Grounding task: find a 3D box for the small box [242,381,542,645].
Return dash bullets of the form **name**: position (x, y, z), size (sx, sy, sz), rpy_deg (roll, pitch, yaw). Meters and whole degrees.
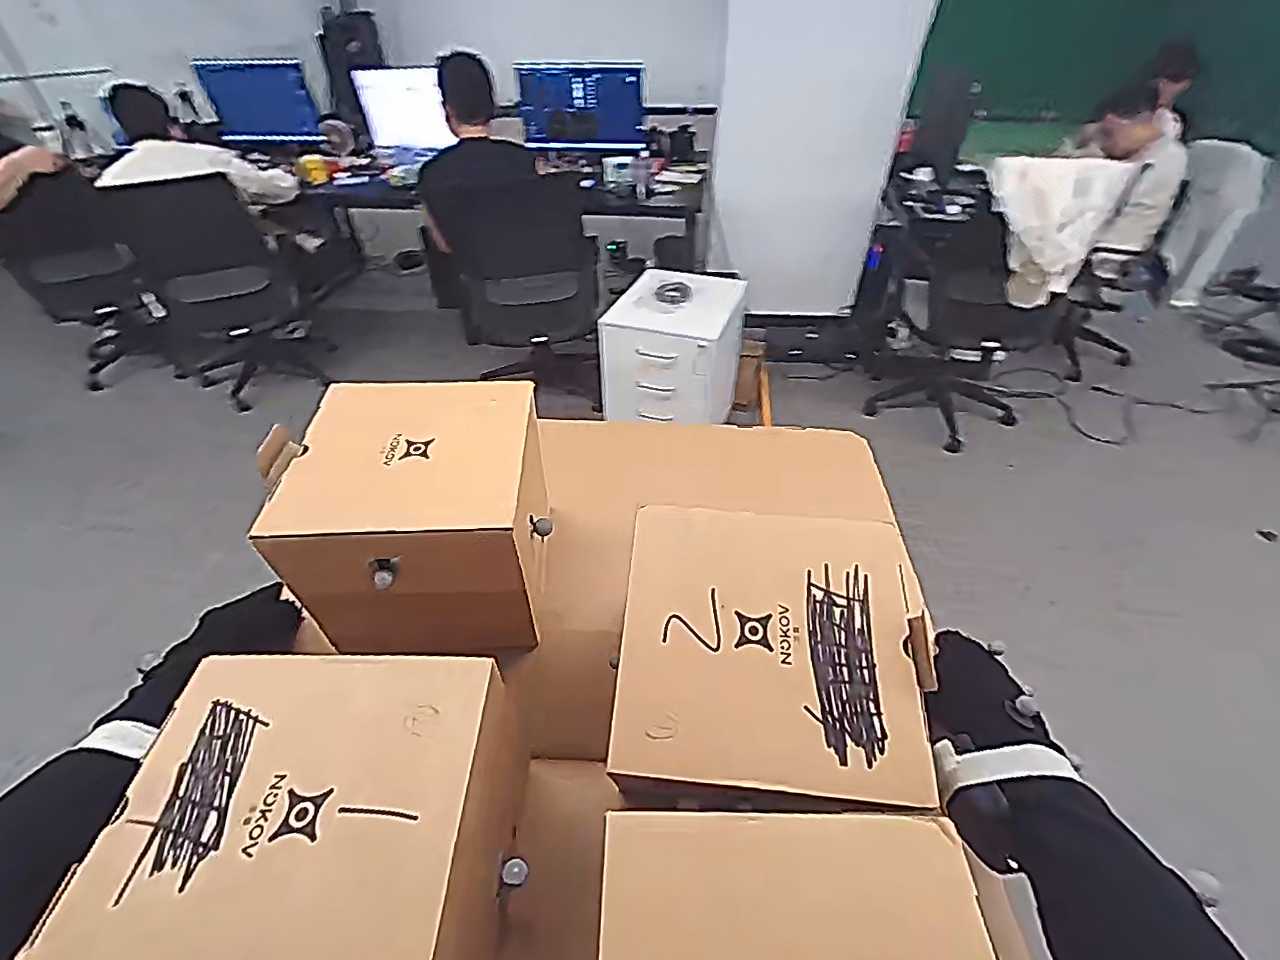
- **small box**: position (-0.185, 0.031, 0.476), size (0.179, 0.176, 0.168), rpy_deg (-2, 47, -2)
